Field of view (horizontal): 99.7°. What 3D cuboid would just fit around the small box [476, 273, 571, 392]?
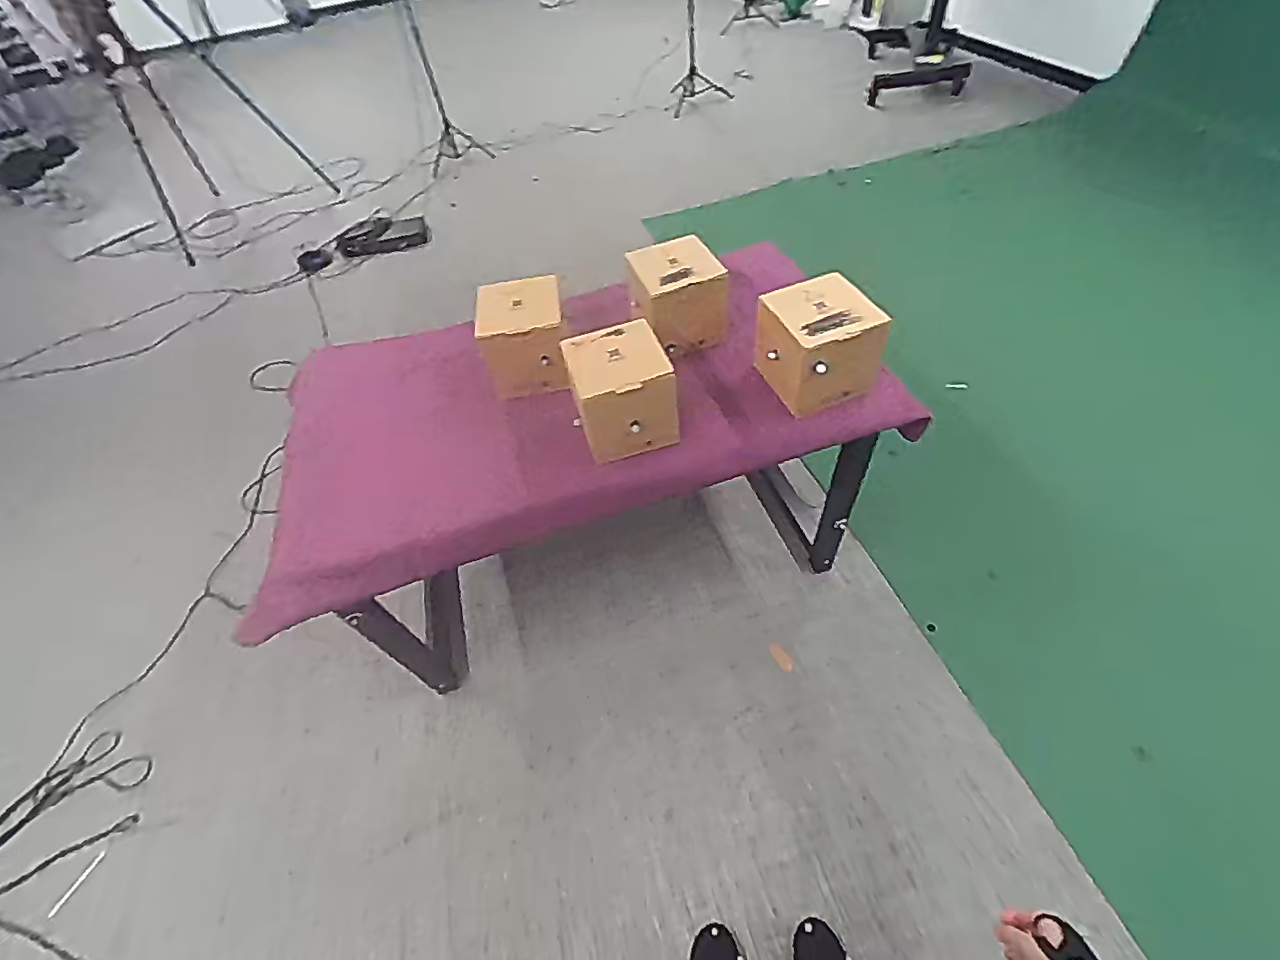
[{"bbox_3d":[-0.233,-0.300,1.130,0.168,0.176,0.179,-9,52,-1],"label":"small box"}]

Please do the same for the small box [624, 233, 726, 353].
[{"bbox_3d":[0.077,-0.393,1.161,0.168,0.176,0.179,-18,51,-7],"label":"small box"}]

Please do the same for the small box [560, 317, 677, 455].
[{"bbox_3d":[-0.036,-0.166,0.998,0.168,0.176,0.179,-17,52,-6],"label":"small box"}]
